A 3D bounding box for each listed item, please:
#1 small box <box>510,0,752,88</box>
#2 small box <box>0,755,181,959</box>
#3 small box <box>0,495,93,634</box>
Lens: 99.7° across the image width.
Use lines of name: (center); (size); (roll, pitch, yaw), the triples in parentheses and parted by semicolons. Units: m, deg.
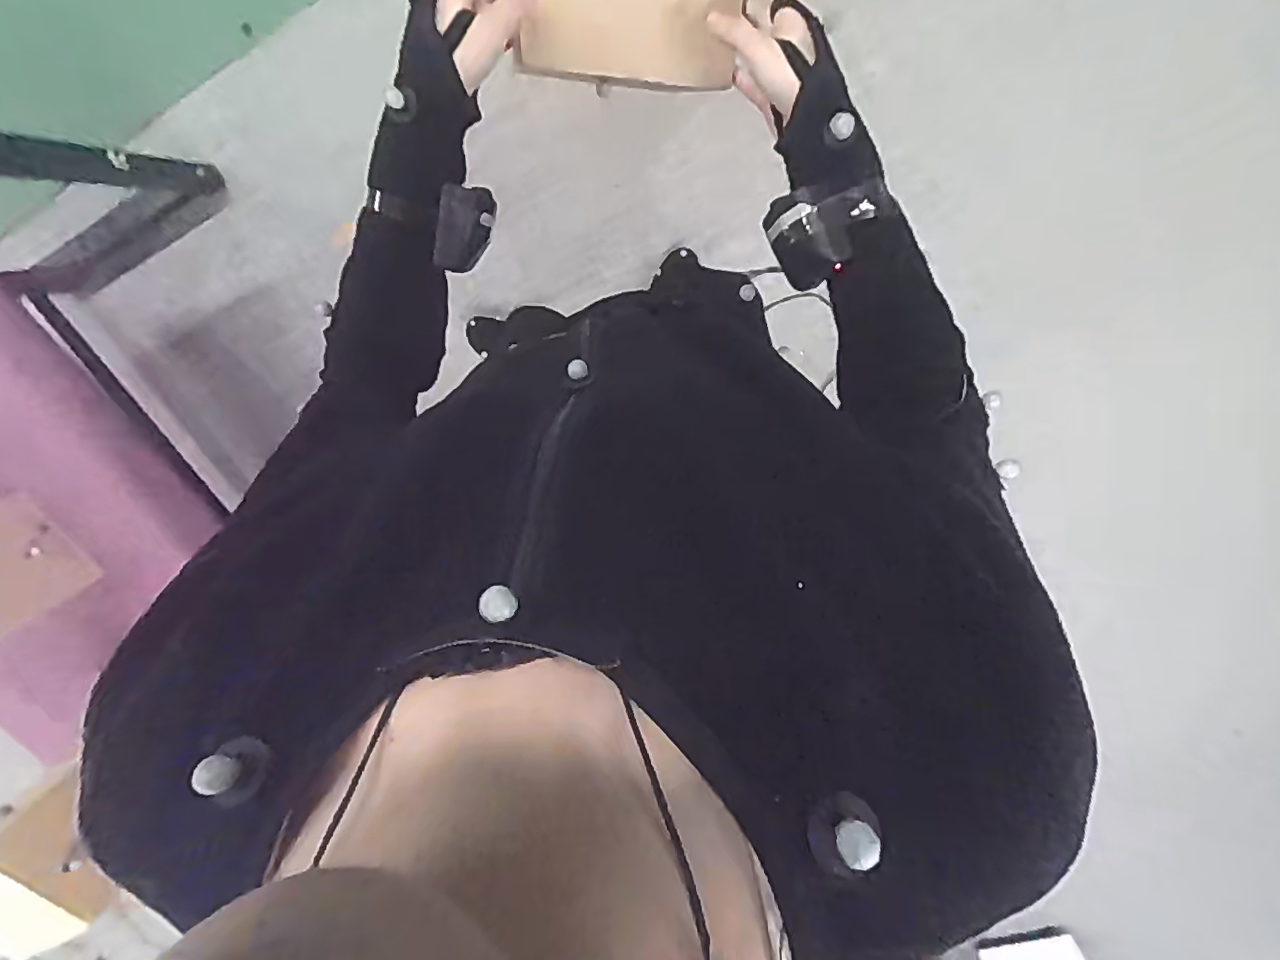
small box: (-0.014, -0.431, 0.439); (0.179, 0.176, 0.168); (-3, 126, -16)
small box: (-0.834, 0.525, 0.771); (0.168, 0.176, 0.179); (-29, 111, 12)
small box: (-0.980, 0.147, 0.783); (0.179, 0.176, 0.168); (-21, 112, 10)
